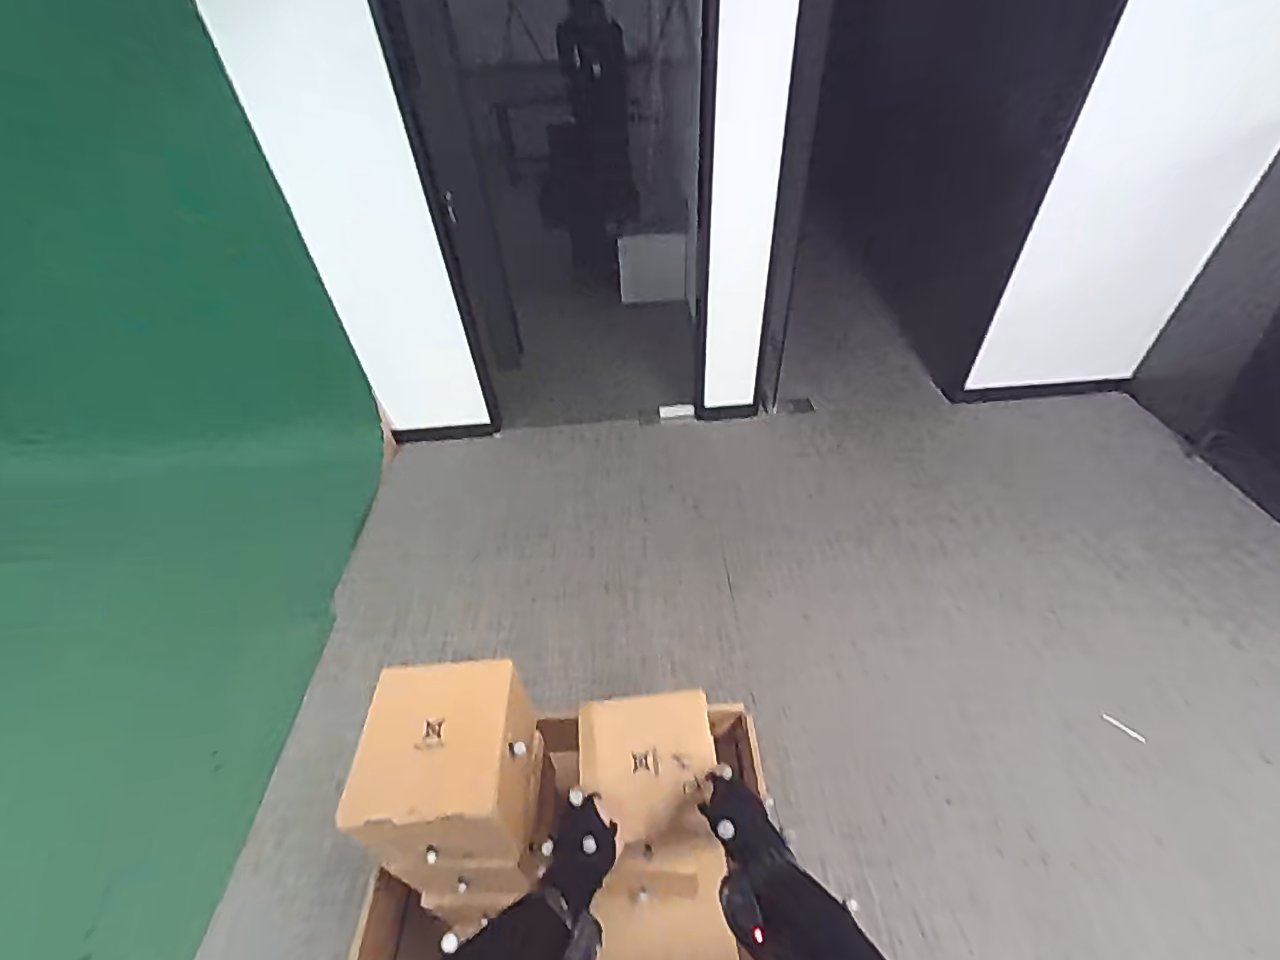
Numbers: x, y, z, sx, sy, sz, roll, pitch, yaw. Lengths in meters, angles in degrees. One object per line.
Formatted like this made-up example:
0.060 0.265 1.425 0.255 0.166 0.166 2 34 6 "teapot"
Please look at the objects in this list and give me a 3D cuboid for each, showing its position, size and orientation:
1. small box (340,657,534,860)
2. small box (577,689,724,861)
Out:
-0.231 0.344 0.672 0.168 0.176 0.179 -4 43 0 "small box"
0.014 0.405 0.738 0.179 0.176 0.168 -6 48 0 "small box"
